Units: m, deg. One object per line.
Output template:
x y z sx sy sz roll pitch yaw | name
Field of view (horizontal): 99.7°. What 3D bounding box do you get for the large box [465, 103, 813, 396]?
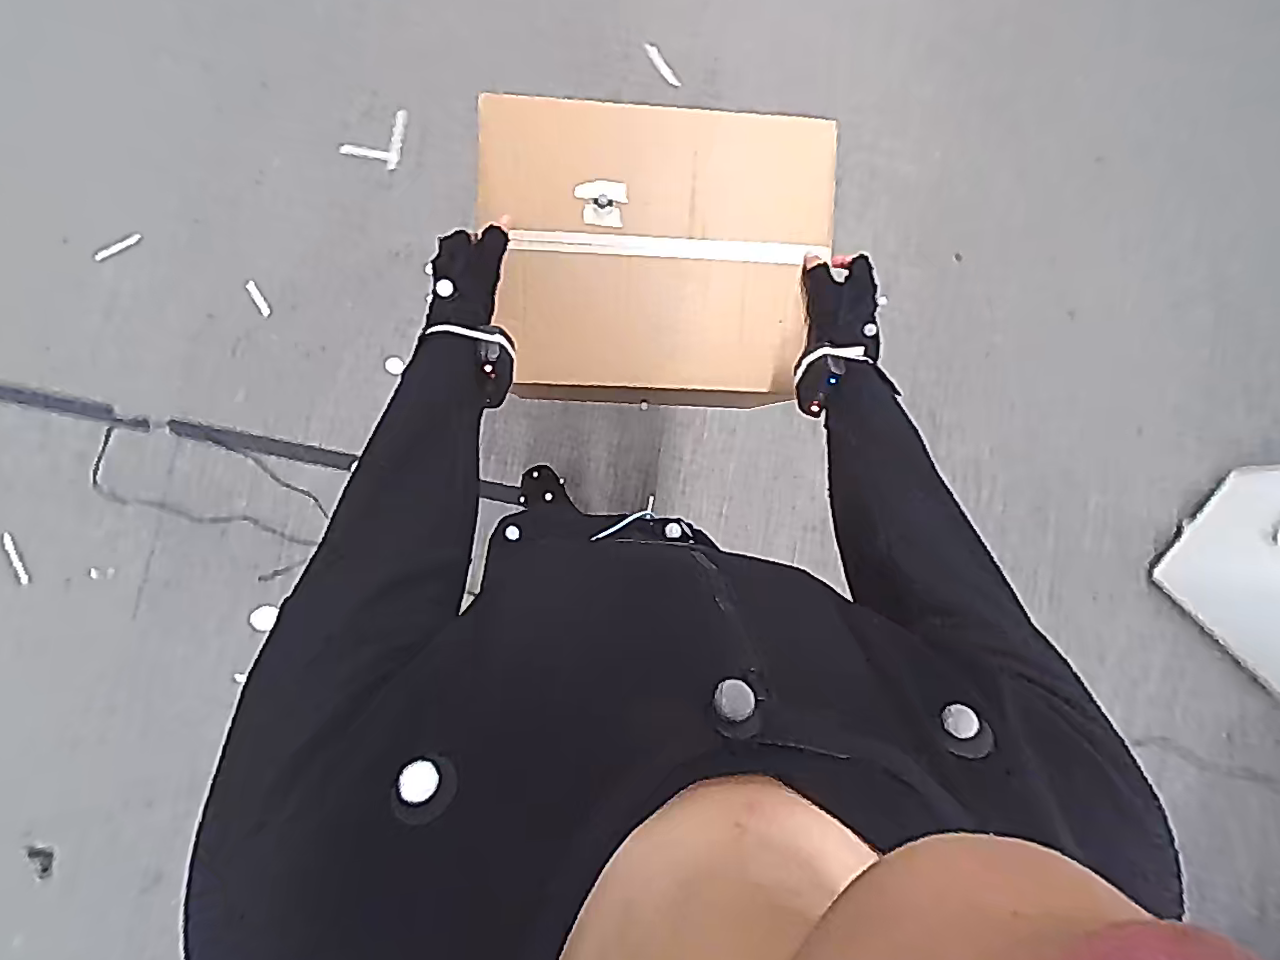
-0.004 -0.282 0.773 0.408 0.320 0.320 0 94 -4 | large box
